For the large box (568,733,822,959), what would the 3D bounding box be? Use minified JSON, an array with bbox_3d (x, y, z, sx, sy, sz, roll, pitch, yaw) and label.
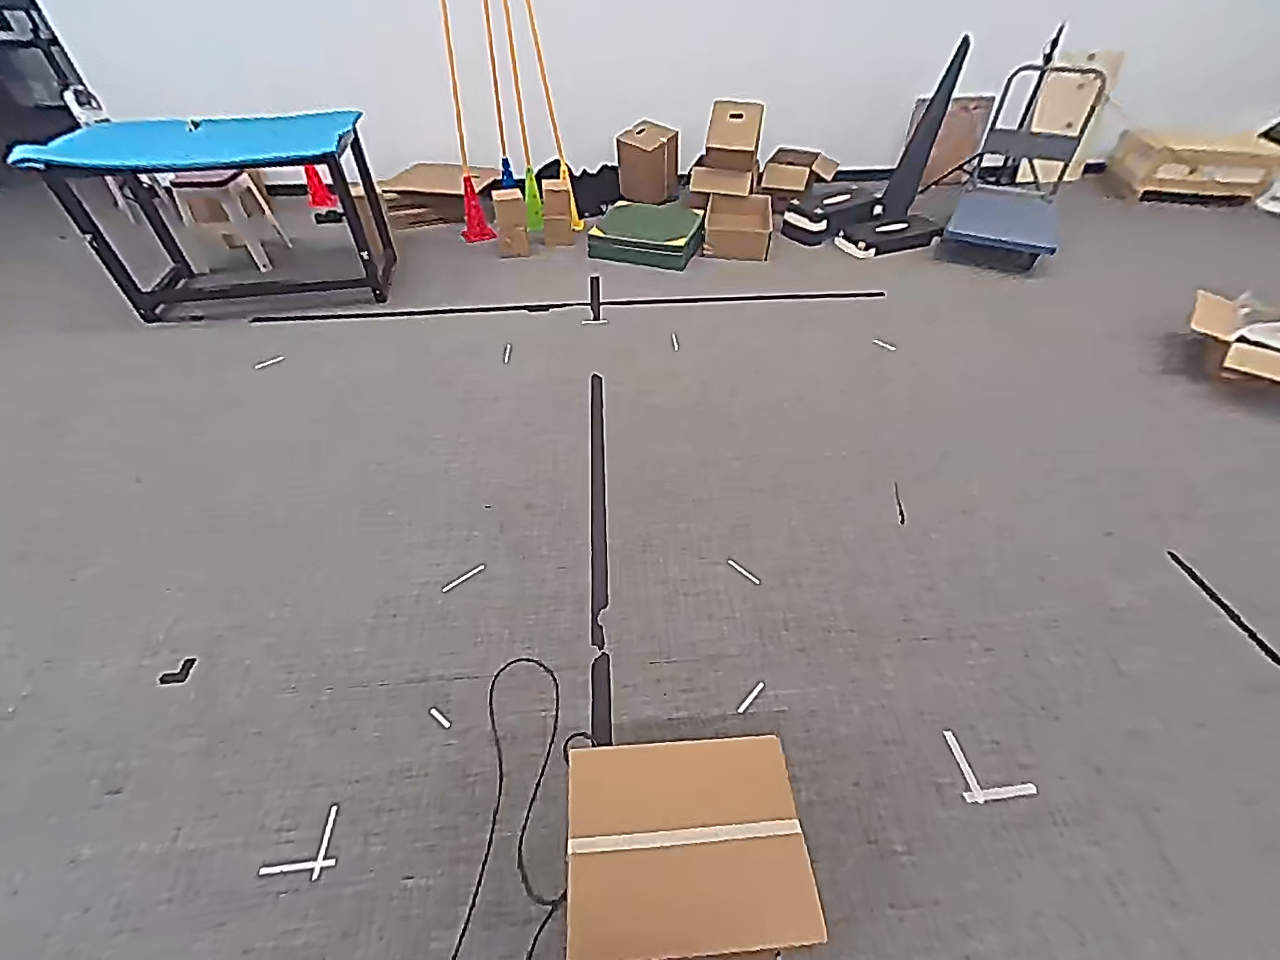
[{"bbox_3d":[0.075,0.715,1.039,0.408,0.320,0.320,-2,45,-4],"label":"large box"}]
